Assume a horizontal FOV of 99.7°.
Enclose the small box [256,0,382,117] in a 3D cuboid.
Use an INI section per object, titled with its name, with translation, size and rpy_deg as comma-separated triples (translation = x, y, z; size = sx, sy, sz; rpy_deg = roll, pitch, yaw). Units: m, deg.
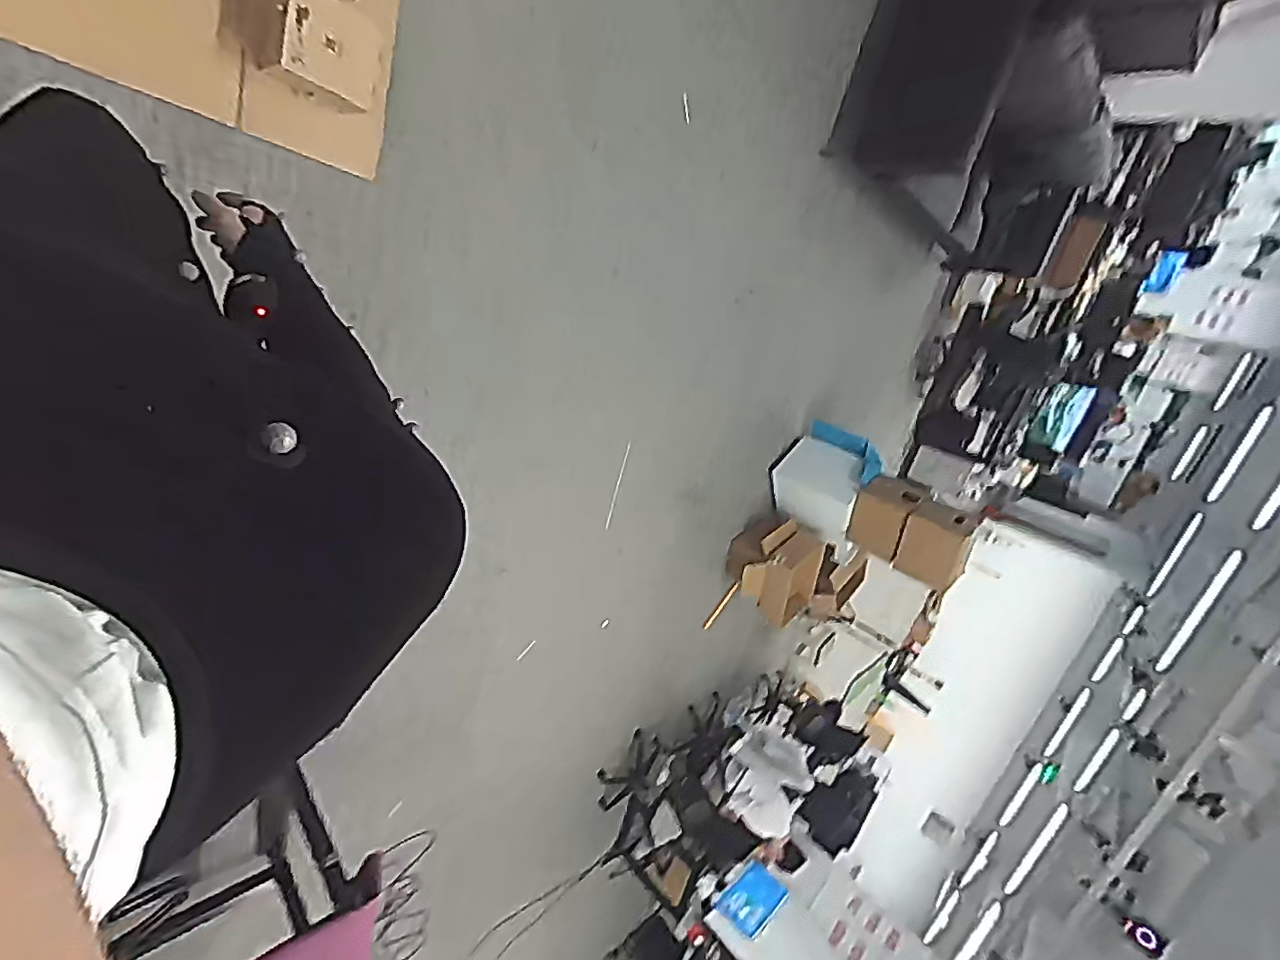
[small box]
translation = -0.694, -0.919, 1.166
size = 0.179, 0.176, 0.168
rpy_deg = 3, 111, -50
